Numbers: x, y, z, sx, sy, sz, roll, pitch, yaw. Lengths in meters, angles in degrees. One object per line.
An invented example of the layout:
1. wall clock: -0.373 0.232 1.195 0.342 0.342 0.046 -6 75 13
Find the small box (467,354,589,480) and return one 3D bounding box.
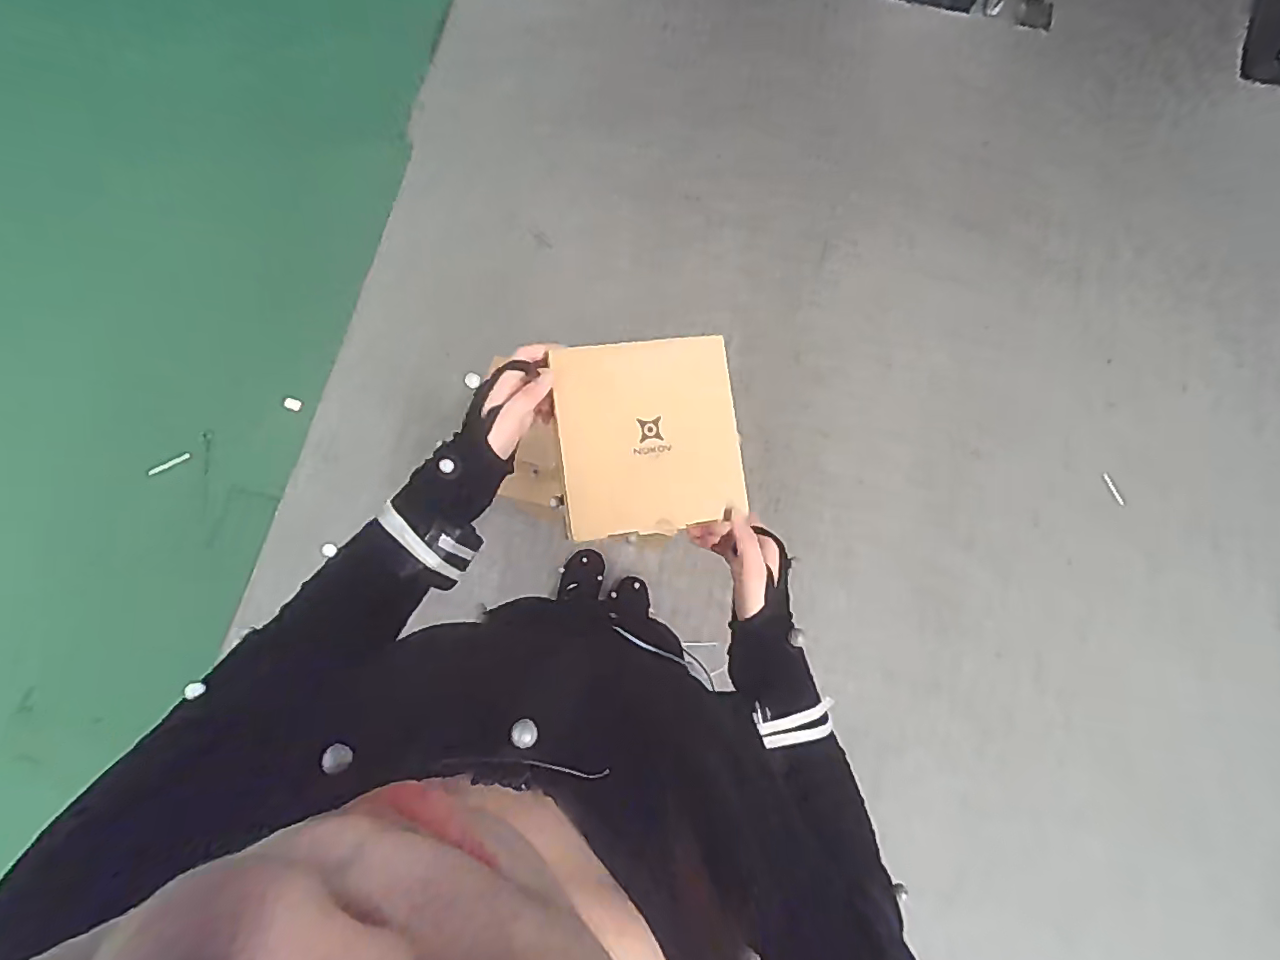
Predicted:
1. small box: -0.198 -0.107 1.016 0.168 0.176 0.179 17 82 0
